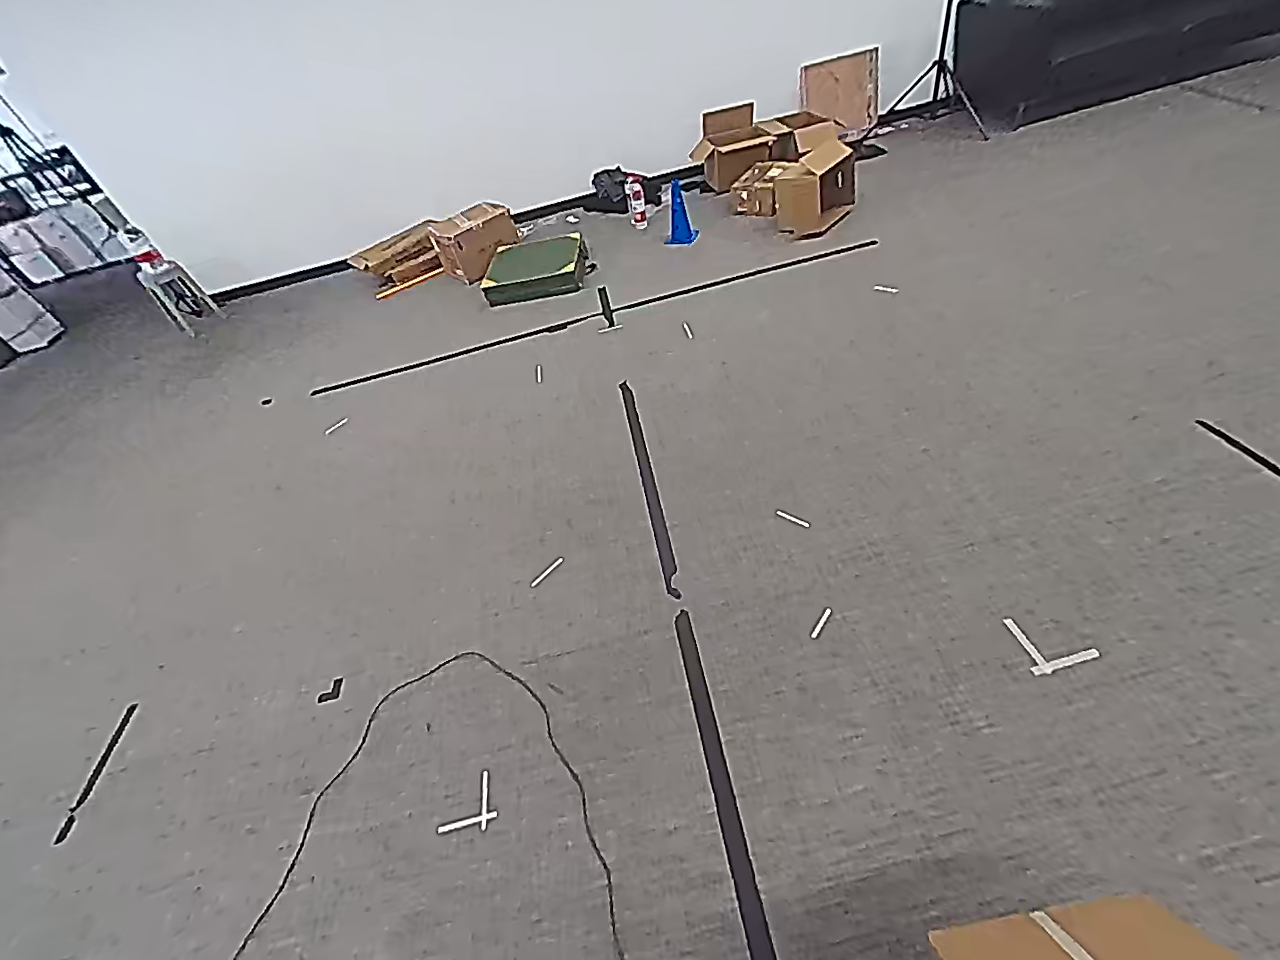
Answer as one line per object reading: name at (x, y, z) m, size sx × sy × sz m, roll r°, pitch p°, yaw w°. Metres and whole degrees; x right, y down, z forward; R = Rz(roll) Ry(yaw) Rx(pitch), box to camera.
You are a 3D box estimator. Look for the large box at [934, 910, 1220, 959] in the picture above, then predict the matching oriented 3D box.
large box at (0.574, 0.738, 0.537) m, size 0.320 × 0.408 × 0.320 m, roll -12°, pitch 81°, yaw 2°
